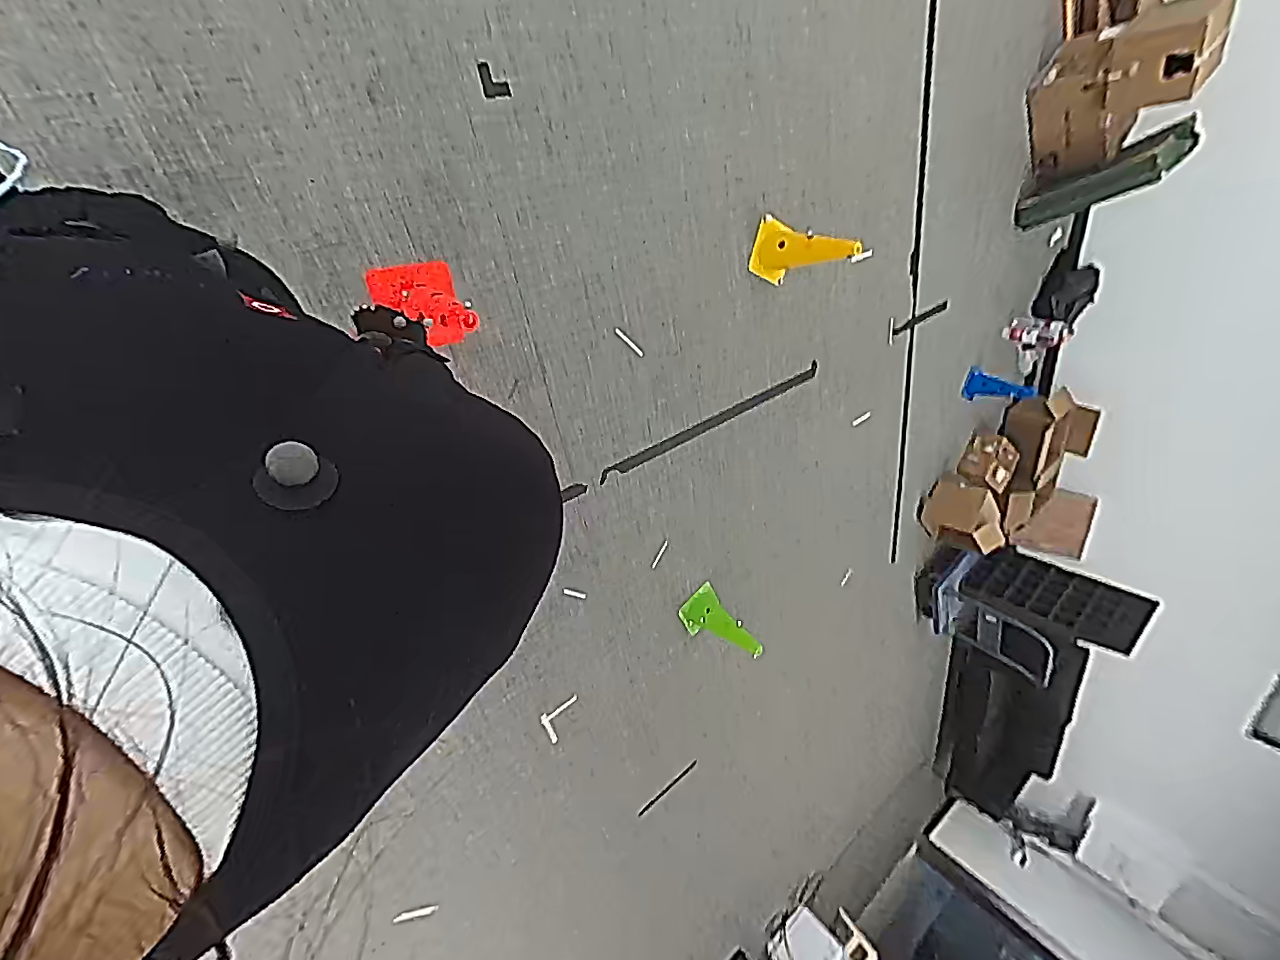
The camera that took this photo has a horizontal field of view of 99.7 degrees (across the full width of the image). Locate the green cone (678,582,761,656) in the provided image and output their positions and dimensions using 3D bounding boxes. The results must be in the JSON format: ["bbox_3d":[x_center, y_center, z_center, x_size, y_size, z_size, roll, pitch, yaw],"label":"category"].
[{"bbox_3d":[0.366,0.626,2.290,0.202,0.368,0.200,-42,129,-17],"label":"green cone"}]

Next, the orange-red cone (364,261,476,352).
[{"bbox_3d":[-0.448,-0.371,1.197,0.199,0.360,0.198,-22,122,-32],"label":"orange-red cone"}]
